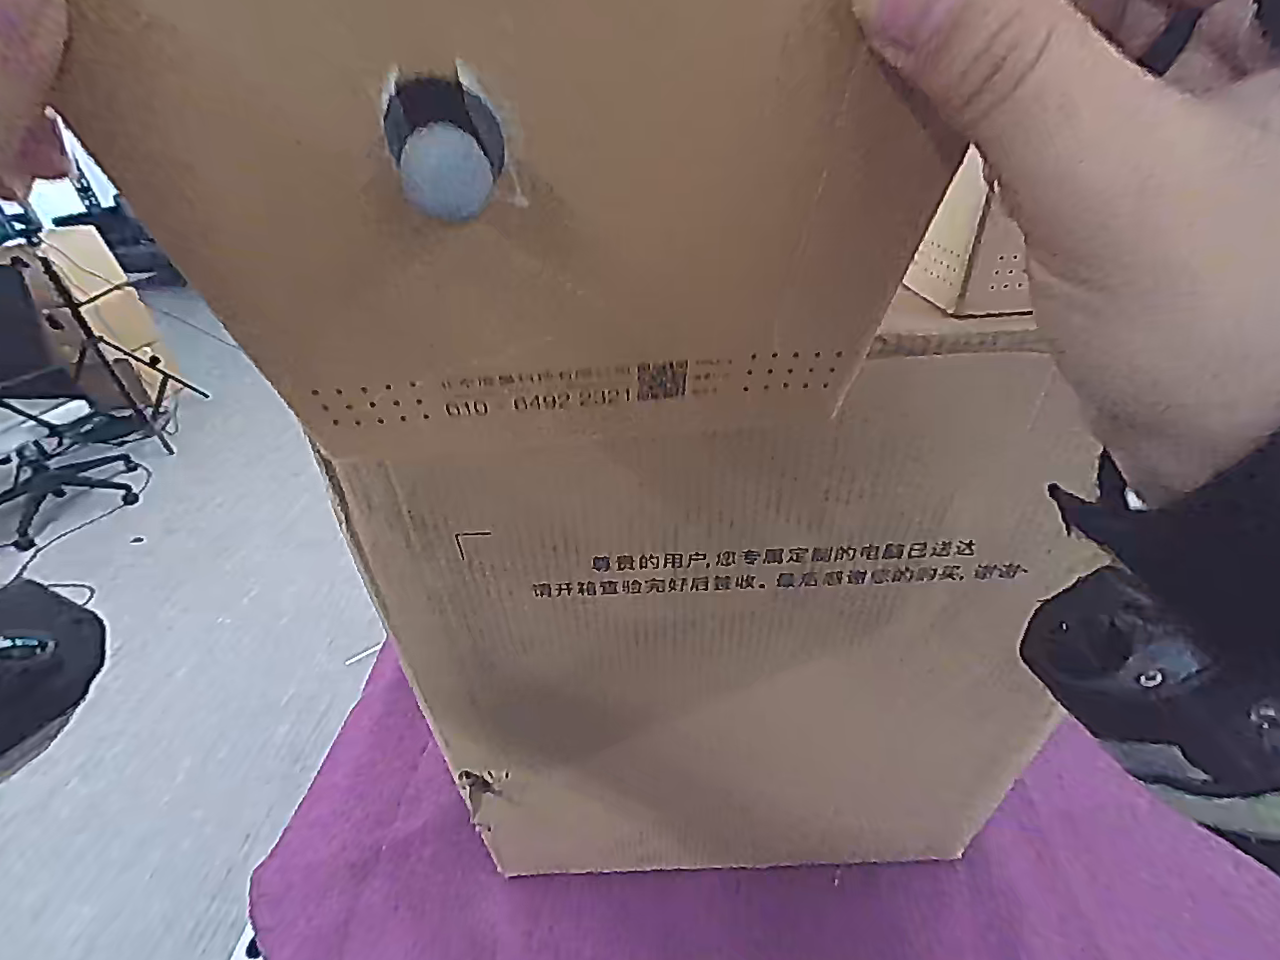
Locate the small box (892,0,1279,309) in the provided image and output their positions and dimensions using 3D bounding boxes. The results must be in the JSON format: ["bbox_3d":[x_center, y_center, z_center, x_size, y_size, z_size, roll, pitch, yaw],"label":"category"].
[{"bbox_3d":[0.226,-0.195,0.277,0.179,0.176,0.168,-4,35,-1],"label":"small box"}]

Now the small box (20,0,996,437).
[{"bbox_3d":[-0.022,-0.126,0.157,0.168,0.176,0.179,-6,56,-5],"label":"small box"}]
